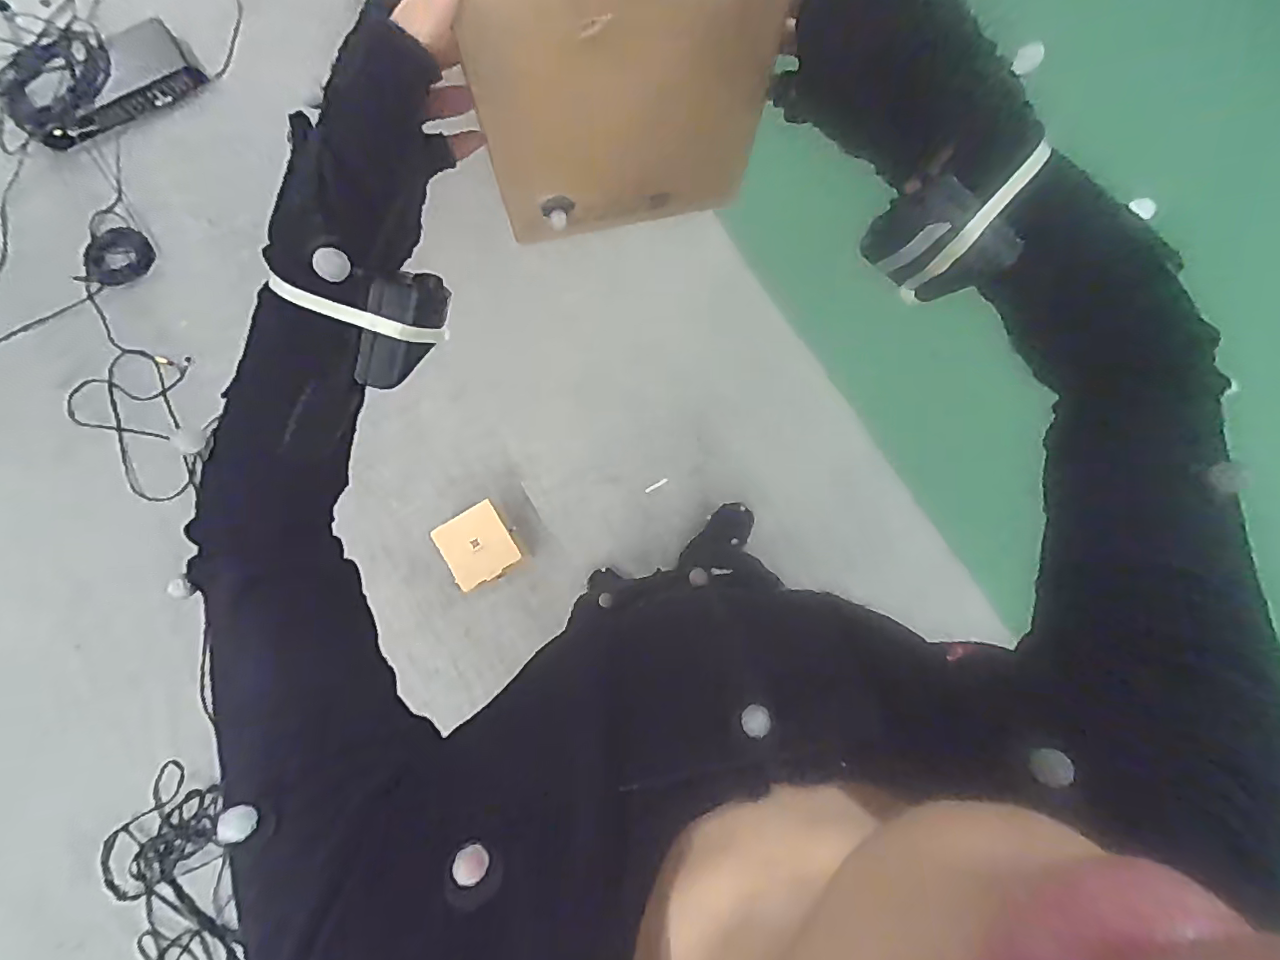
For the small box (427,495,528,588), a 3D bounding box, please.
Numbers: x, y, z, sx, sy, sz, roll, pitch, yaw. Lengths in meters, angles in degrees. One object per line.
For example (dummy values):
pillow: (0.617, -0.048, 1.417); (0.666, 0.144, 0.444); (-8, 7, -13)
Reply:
small box: (-0.411, 0.162, 1.391); (0.168, 0.176, 0.179); (-32, 84, -6)
